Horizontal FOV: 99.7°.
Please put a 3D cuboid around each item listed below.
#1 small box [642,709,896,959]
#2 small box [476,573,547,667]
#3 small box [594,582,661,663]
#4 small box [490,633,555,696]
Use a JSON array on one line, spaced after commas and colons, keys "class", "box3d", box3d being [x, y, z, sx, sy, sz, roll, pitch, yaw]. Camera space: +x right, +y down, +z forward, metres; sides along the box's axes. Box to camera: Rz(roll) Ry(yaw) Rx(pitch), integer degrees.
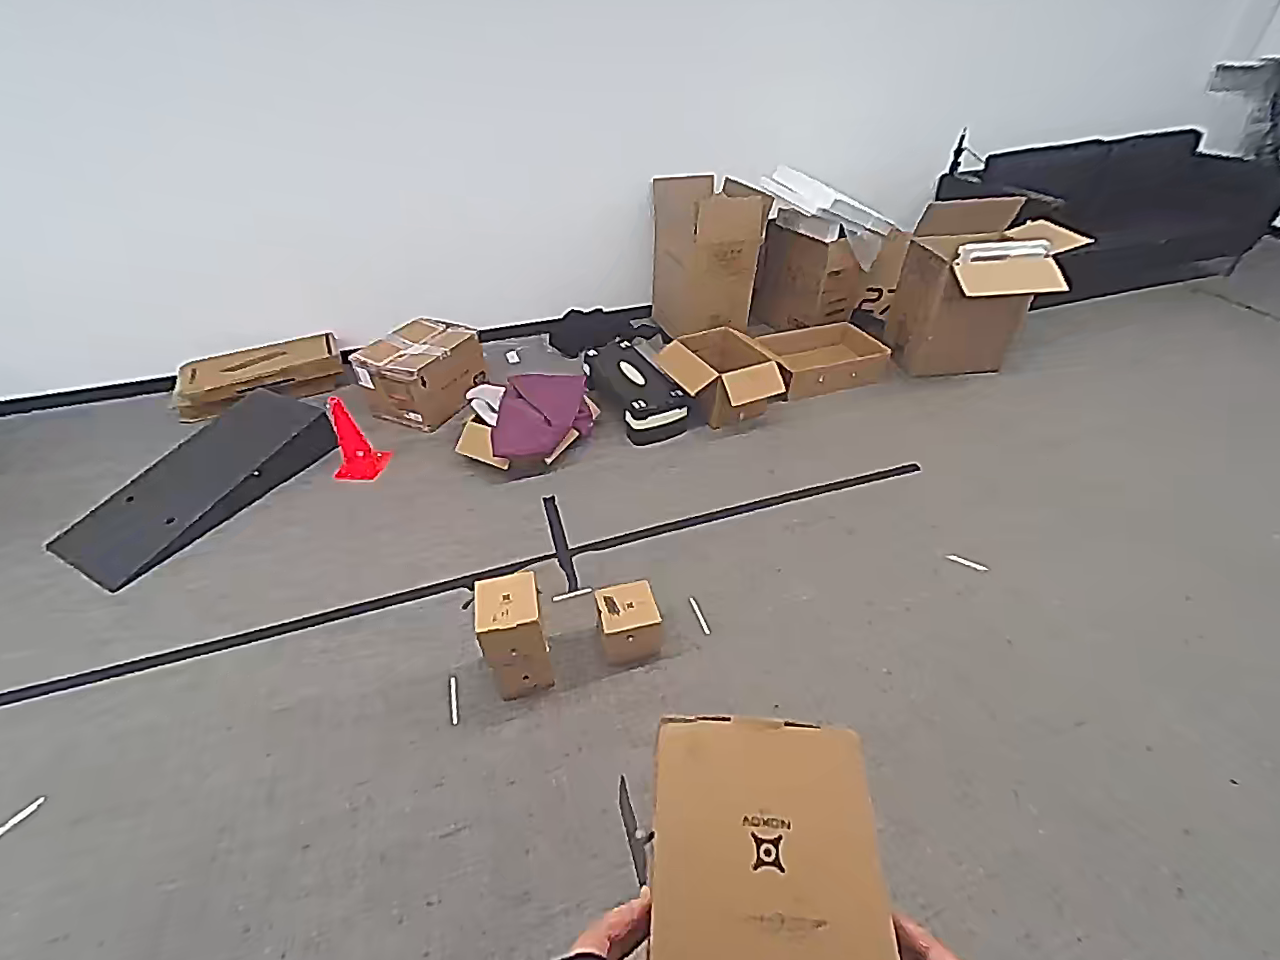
[{"class": "small box", "box3d": [0.090, 0.316, 0.459, 0.168, 0.176, 0.179, 4, 51, 2]}, {"class": "small box", "box3d": [-0.359, 0.391, 1.512, 0.168, 0.176, 0.179, -10, 41, -9]}, {"class": "small box", "box3d": [-0.039, 0.449, 1.695, 0.179, 0.176, 0.168, -10, 41, -12]}, {"class": "small box", "box3d": [-0.357, 0.520, 1.617, 0.168, 0.176, 0.179, -13, 42, -13]}]
